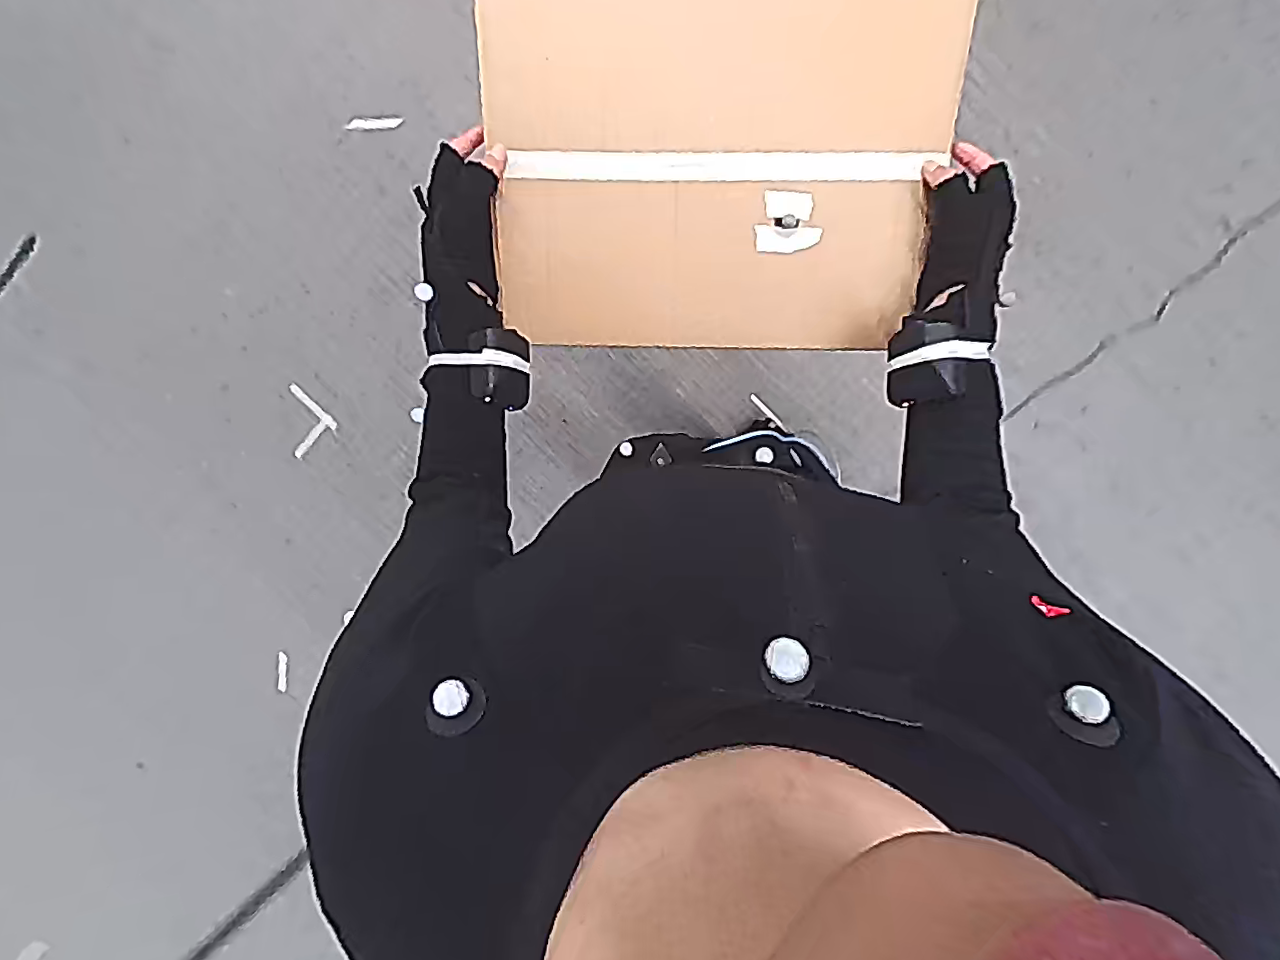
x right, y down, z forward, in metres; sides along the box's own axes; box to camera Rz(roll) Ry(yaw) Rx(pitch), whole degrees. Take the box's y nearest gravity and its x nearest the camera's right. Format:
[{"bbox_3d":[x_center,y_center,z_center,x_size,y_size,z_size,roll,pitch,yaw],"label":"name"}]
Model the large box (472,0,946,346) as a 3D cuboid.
[{"bbox_3d":[0.058,-0.334,0.633,0.408,0.320,0.320,0,111,0],"label":"large box"}]
